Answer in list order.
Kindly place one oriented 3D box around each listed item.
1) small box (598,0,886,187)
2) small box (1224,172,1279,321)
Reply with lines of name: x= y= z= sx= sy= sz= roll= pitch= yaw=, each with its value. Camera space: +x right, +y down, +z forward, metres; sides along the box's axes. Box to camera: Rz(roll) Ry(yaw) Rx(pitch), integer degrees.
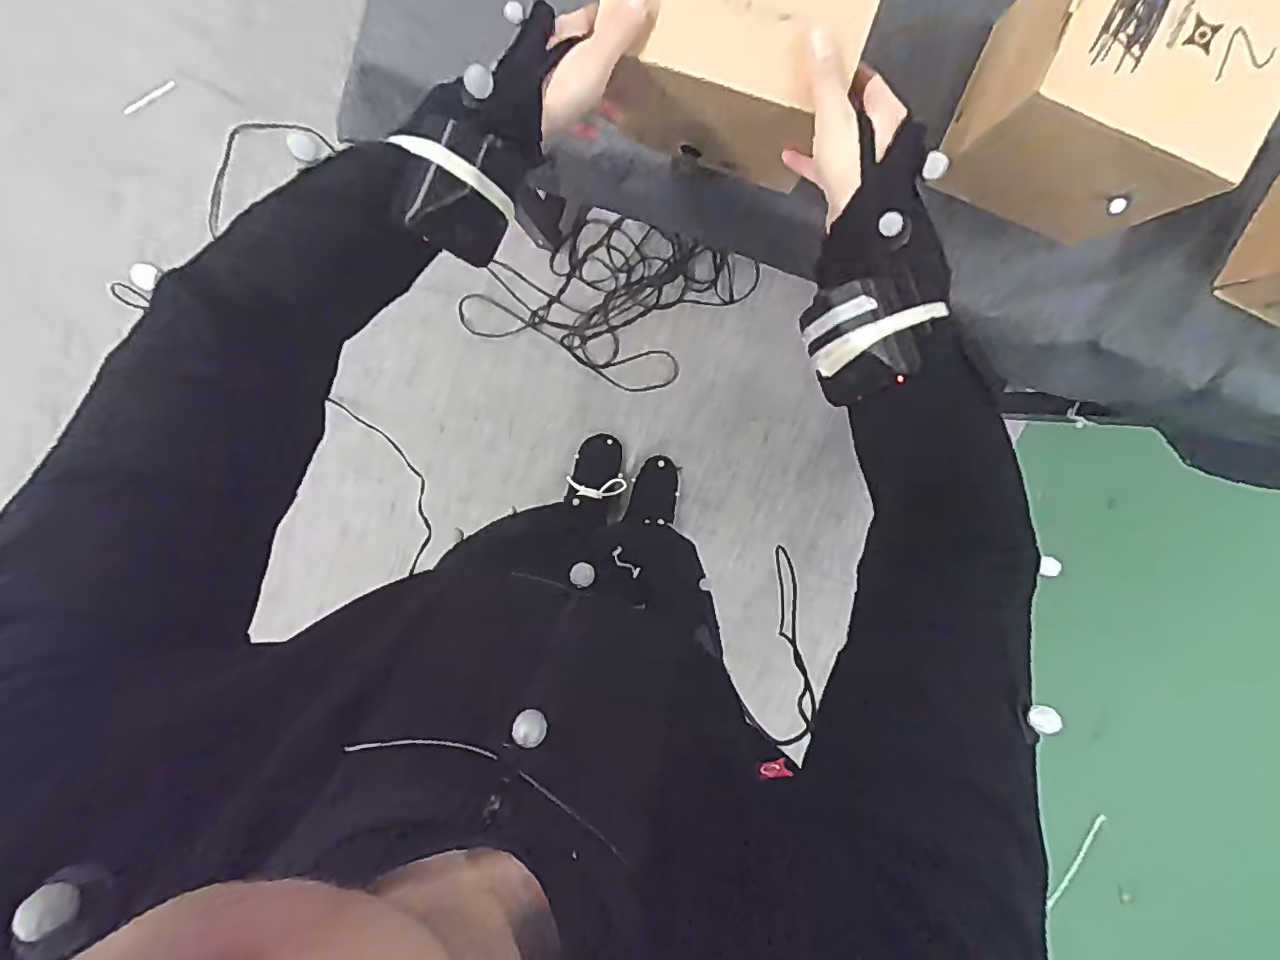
small box: x=0.081 y=-0.346 z=0.393 sx=0.168 sy=0.176 sz=0.179 roll=18 pitch=106 yaw=1
small box: x=0.708 y=-0.238 z=0.482 sx=0.168 sy=0.176 sz=0.179 roll=24 pitch=99 yaw=-2
